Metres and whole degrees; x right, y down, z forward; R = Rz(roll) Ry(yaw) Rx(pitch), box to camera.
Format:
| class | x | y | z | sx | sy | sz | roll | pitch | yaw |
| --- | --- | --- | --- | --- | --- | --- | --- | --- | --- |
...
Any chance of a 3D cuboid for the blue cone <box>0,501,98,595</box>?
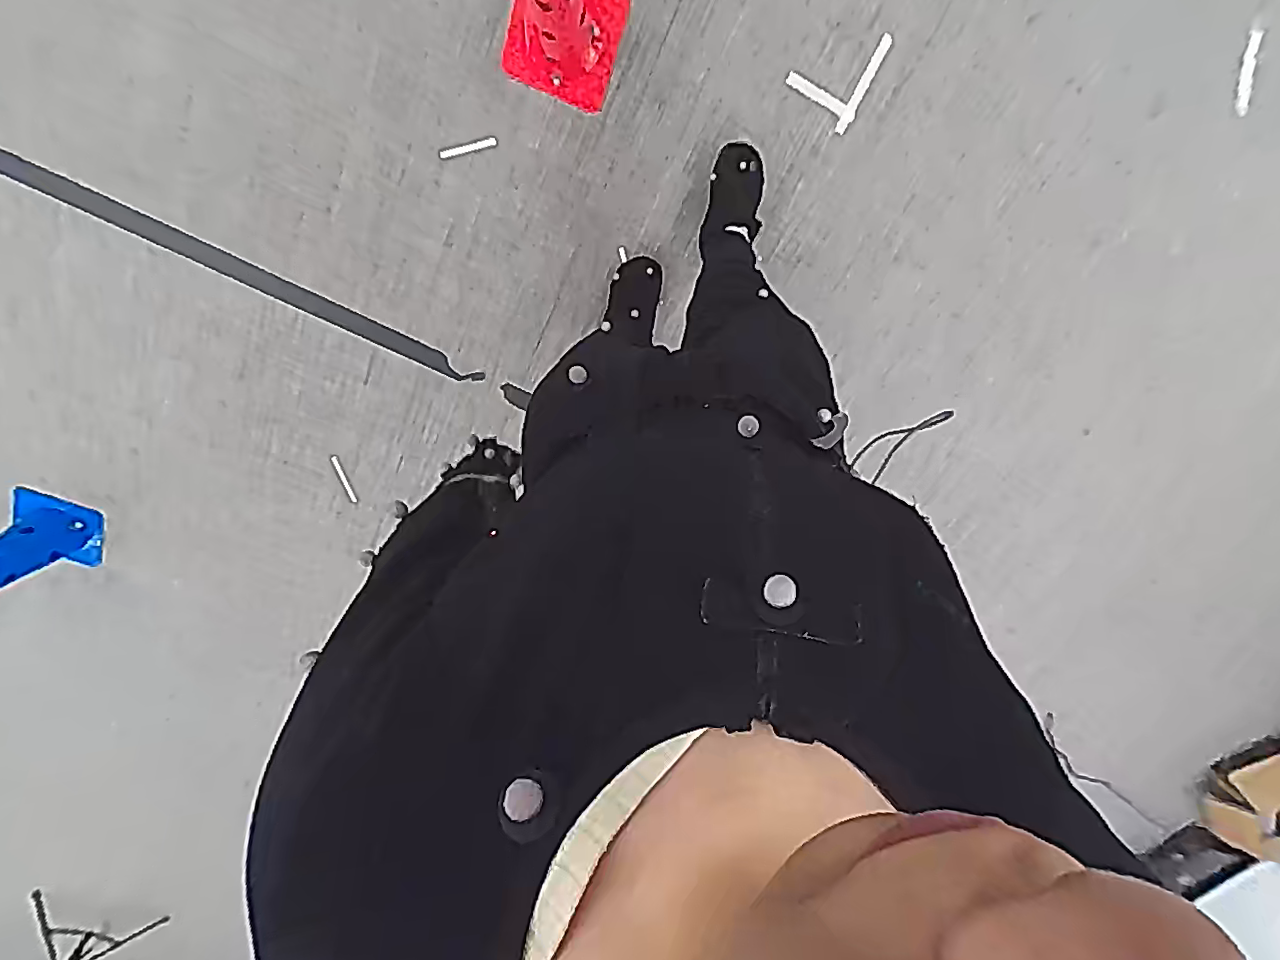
| class | x | y | z | sx | sy | sz | roll | pitch | yaw |
| --- | --- | --- | --- | --- | --- | --- | --- | --- | --- |
| blue cone | -1.536 | 0.227 | 1.285 | 0.193 | 0.380 | 0.192 | 24 | 115 | -15 |

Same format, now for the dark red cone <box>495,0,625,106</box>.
| class | x | y | z | sx | sy | sz | roll | pitch | yaw |
| --- | --- | --- | --- | --- | --- | --- | --- | --- | --- |
| dark red cone | -0.134 | -0.733 | 0.825 | 0.202 | 0.394 | 0.201 | 16 | 117 | -12 |
